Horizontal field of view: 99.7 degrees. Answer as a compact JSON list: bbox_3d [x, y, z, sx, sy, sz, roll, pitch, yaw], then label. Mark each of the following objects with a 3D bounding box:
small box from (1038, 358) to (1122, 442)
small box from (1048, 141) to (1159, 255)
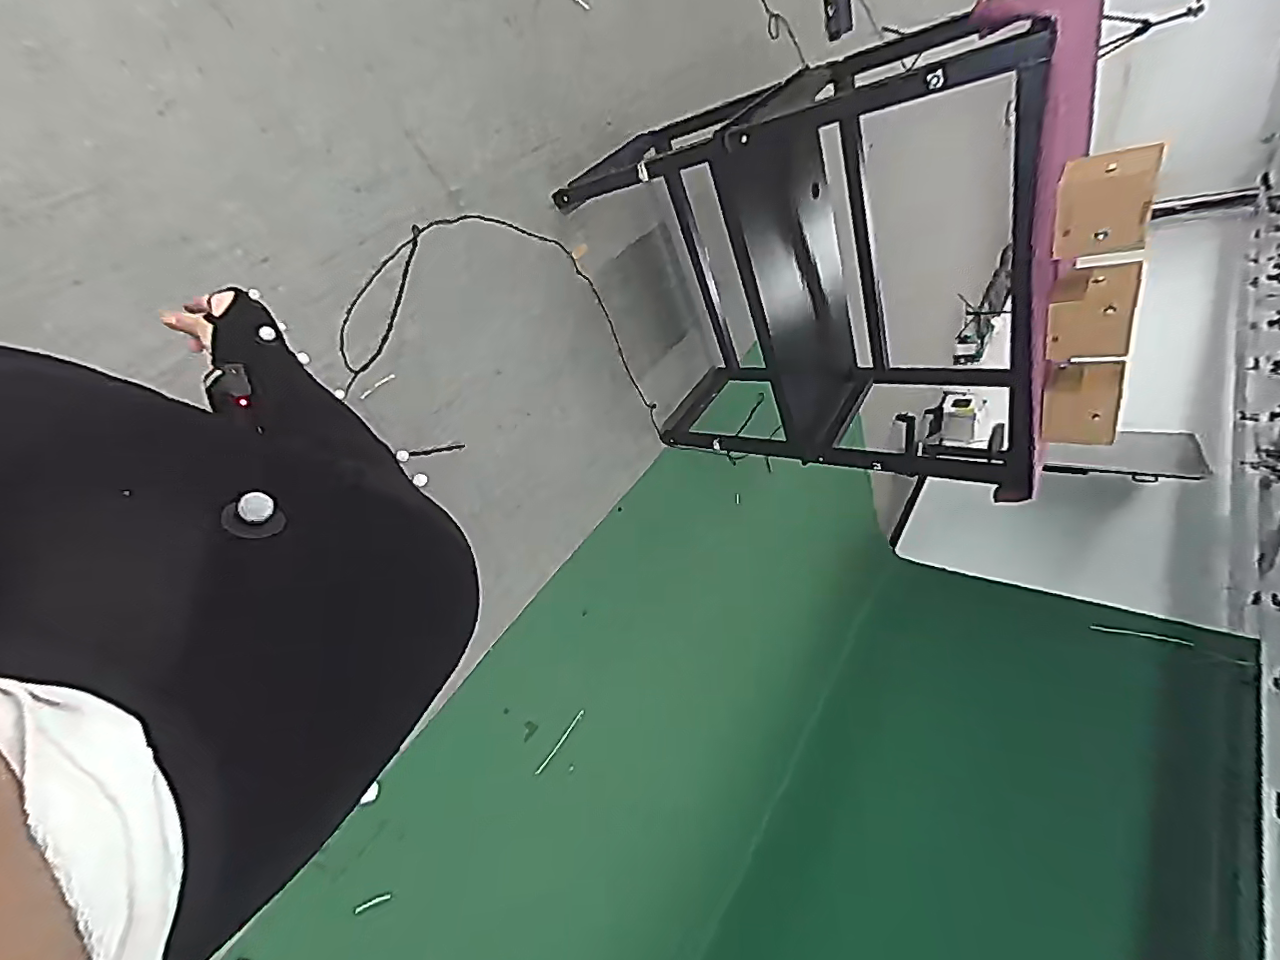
[{"bbox_3d":[1.250,-0.228,1.542,0.168,0.176,0.179,-51,132,-31],"label":"small box"},{"bbox_3d":[1.044,-0.630,1.224,0.179,0.176,0.168,-50,132,-32],"label":"small box"}]
